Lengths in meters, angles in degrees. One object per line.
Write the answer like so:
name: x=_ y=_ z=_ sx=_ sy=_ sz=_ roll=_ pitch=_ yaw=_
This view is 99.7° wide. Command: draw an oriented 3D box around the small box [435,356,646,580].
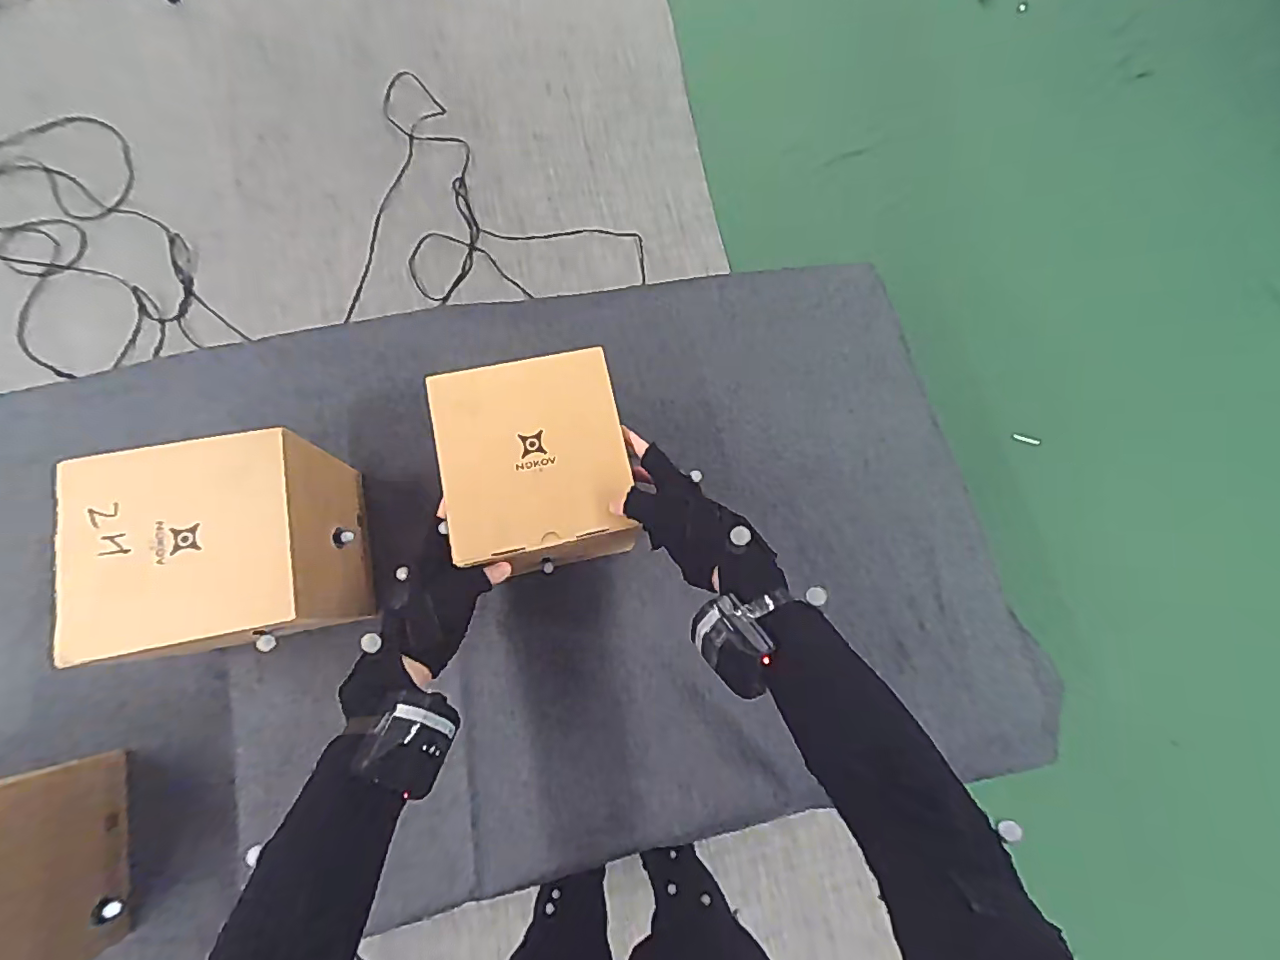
small box: x=-0.099 y=-0.003 z=0.561 sx=0.168 sy=0.176 sz=0.179 roll=-12 pitch=78 yaw=-8

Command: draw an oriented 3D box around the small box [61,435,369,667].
small box: x=-0.376 y=0.069 z=0.514 sx=0.179 sy=0.176 sz=0.168 roll=-10 pitch=78 yaw=-8

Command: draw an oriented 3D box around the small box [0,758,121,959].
small box: x=-0.568 y=0.342 z=0.428 sx=0.179 sy=0.176 sz=0.168 roll=-12 pitch=76 yaw=-8
